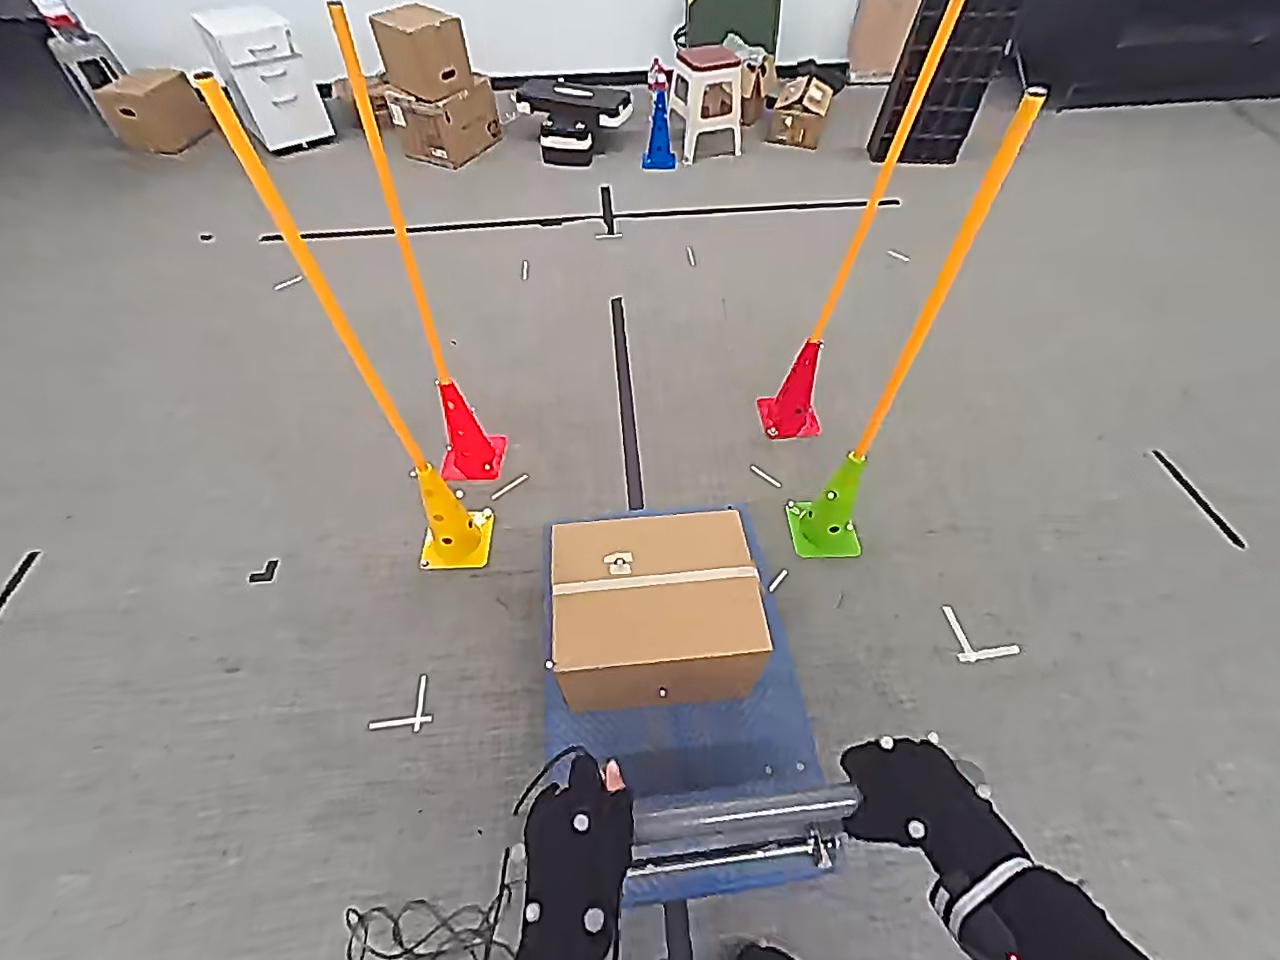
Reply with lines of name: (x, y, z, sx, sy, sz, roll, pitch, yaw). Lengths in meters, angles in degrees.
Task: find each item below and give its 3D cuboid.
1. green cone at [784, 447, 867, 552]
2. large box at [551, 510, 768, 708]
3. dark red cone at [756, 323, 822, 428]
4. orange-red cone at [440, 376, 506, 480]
green cone: (0.570, 0.038, 1.563, 0.202, 0.368, 0.200, -1, 53, -2)
large box: (0.028, 0.292, 1.194, 0.408, 0.320, 0.320, -5, 54, -3)
dark red cone: (0.543, -0.361, 1.840, 0.201, 0.394, 0.202, -3, 54, -5)
orange-red cone: (-0.574, -0.190, 1.736, 0.198, 0.360, 0.199, 2, 52, 0)
